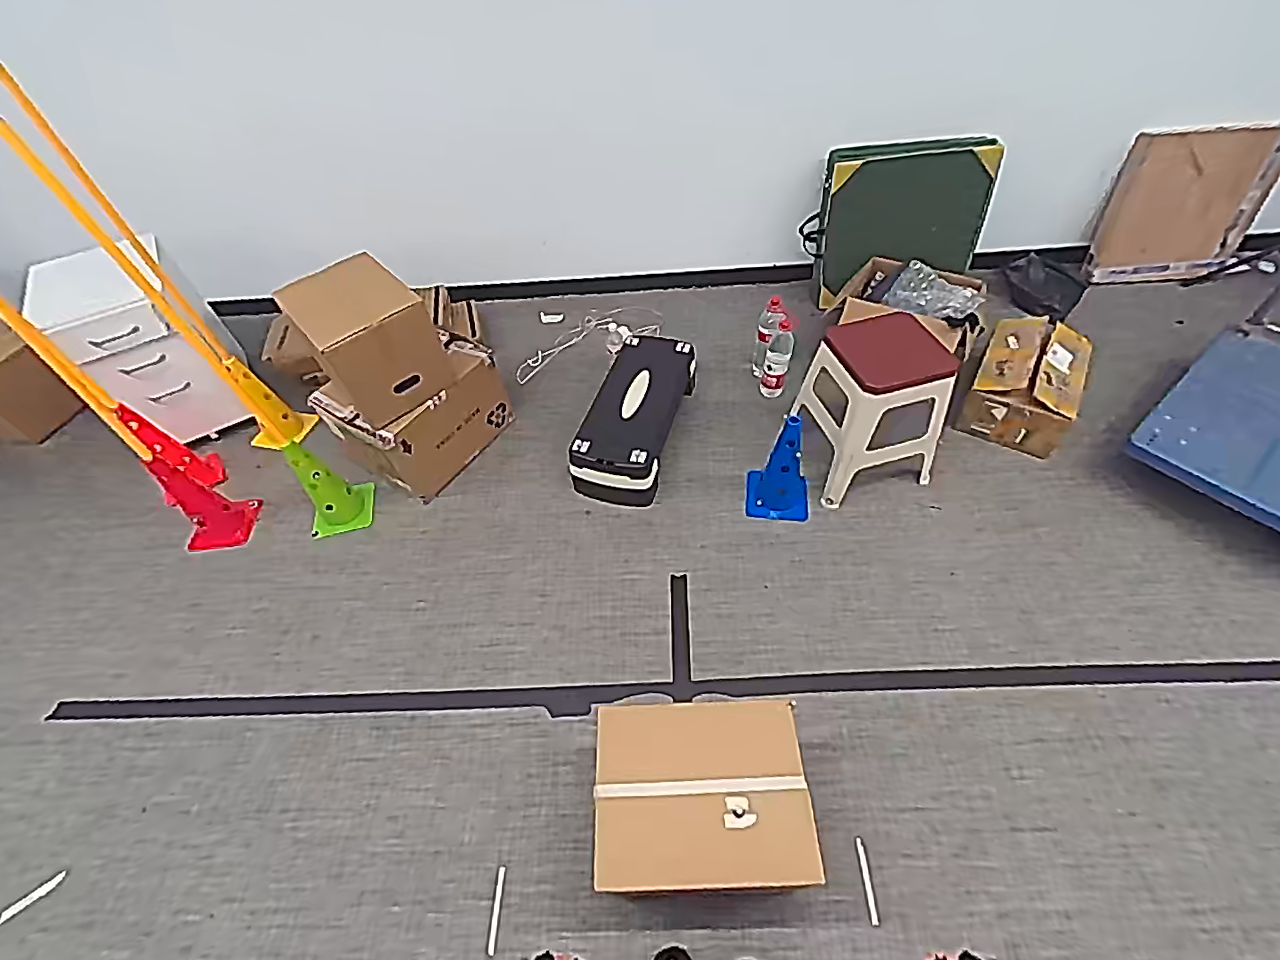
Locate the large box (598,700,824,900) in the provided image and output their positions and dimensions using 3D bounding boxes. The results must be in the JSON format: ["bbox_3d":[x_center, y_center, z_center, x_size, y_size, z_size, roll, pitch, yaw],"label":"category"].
[{"bbox_3d":[0.123,0.684,1.150,0.408,0.320,0.320,-3,51,1],"label":"large box"}]
